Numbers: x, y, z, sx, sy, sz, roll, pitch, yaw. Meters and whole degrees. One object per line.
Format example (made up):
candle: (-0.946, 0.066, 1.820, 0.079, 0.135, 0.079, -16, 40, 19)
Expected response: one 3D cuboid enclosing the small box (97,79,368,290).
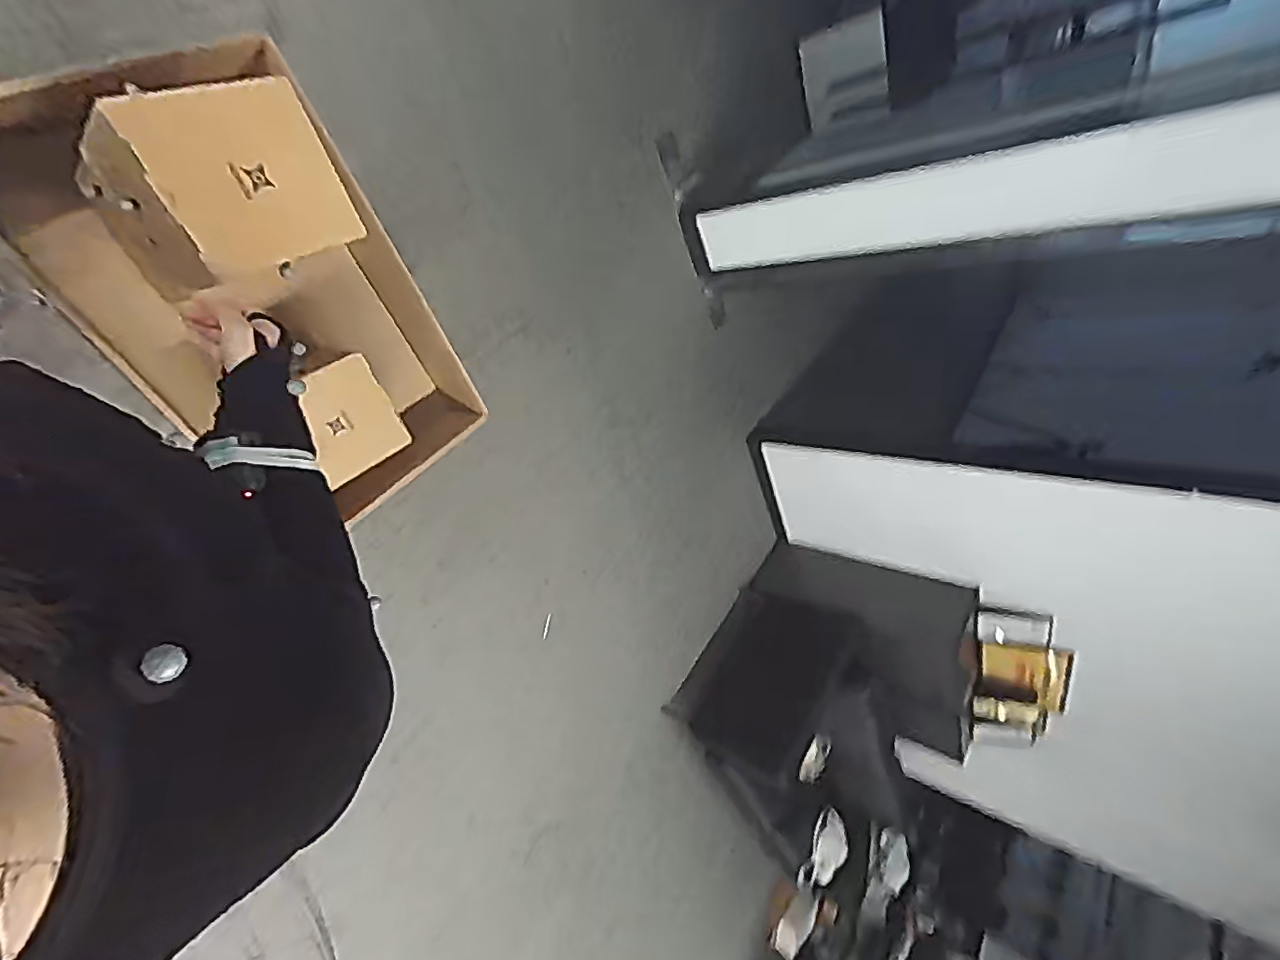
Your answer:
small box: (-0.462, -0.331, 0.621, 0.179, 0.176, 0.168, -42, 128, -34)
